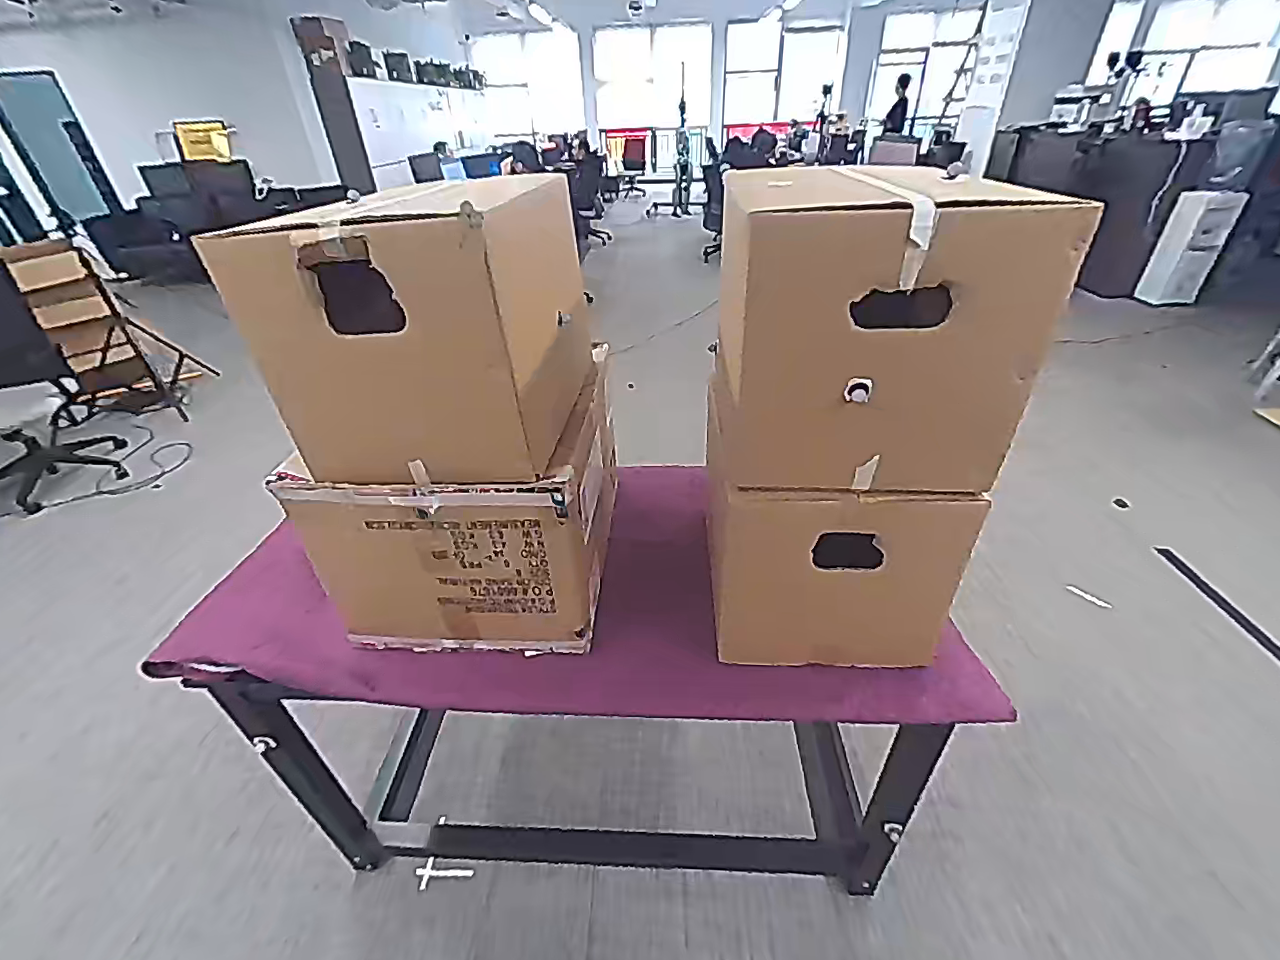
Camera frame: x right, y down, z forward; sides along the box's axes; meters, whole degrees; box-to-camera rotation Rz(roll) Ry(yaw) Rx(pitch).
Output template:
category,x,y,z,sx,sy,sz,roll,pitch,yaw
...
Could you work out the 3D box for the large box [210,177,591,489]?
category,x,y,z,sx,sy,sz,roll,pitch,yaw
large box,-0.262,-0.228,0.774,0.320,0.320,0.408,-3,34,7
